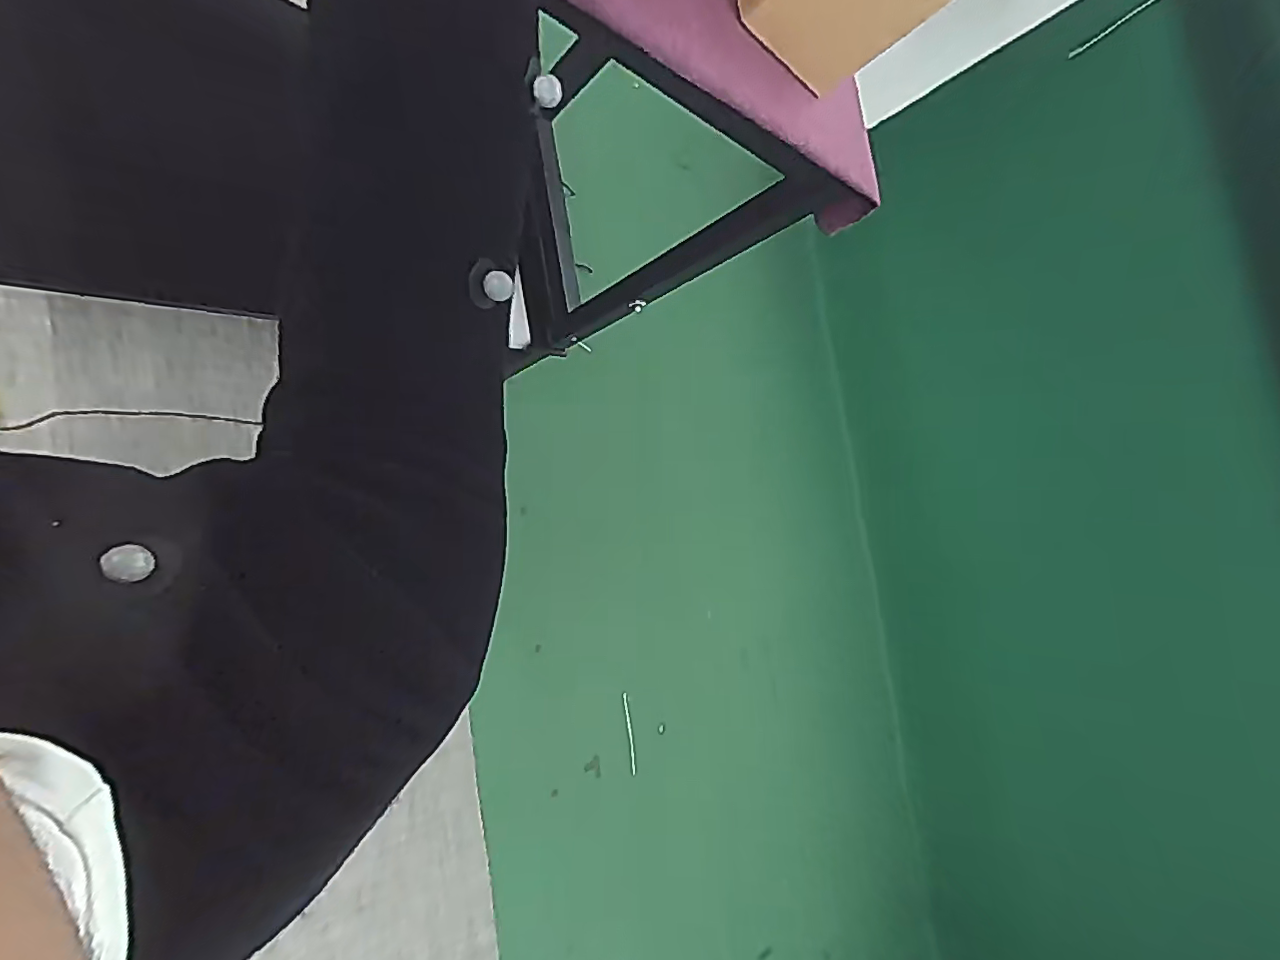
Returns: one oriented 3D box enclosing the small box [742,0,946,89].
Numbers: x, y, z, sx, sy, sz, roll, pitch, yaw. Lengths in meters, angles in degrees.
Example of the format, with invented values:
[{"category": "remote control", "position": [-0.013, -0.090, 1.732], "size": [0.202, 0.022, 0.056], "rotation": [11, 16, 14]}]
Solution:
[{"category": "small box", "position": [0.209, -0.567, 0.568], "size": [0.179, 0.176, 0.168], "rotation": [-4, 82, -46]}]
